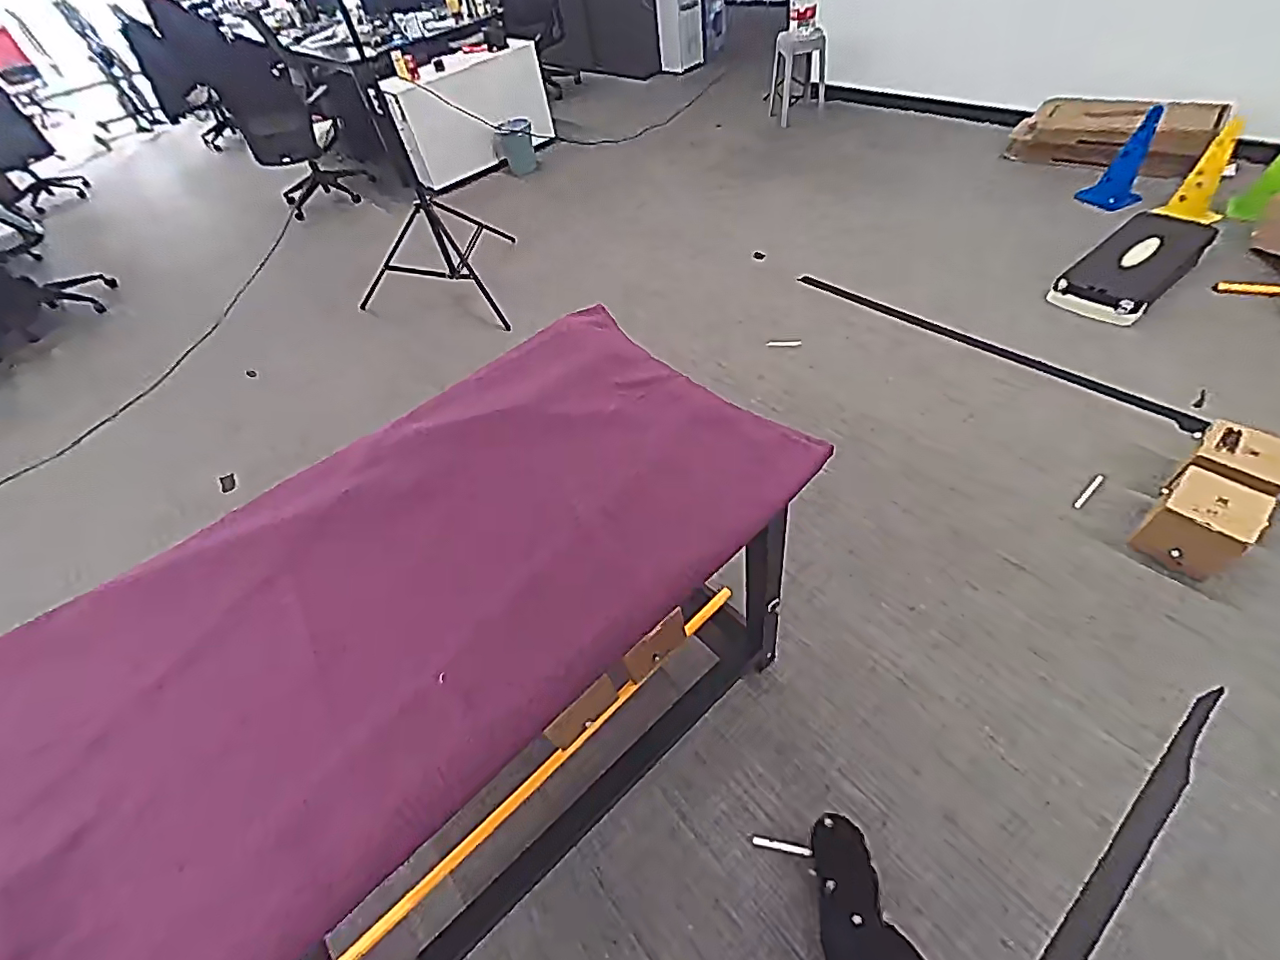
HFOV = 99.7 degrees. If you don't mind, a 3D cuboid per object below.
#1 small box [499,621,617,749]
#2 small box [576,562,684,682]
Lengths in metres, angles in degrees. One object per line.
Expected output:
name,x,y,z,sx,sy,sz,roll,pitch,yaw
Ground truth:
small box,-0.173,0.448,1.175,0.168,0.176,0.179,-39,56,-20
small box,-0.018,0.329,1.245,0.168,0.176,0.179,-38,55,-19
